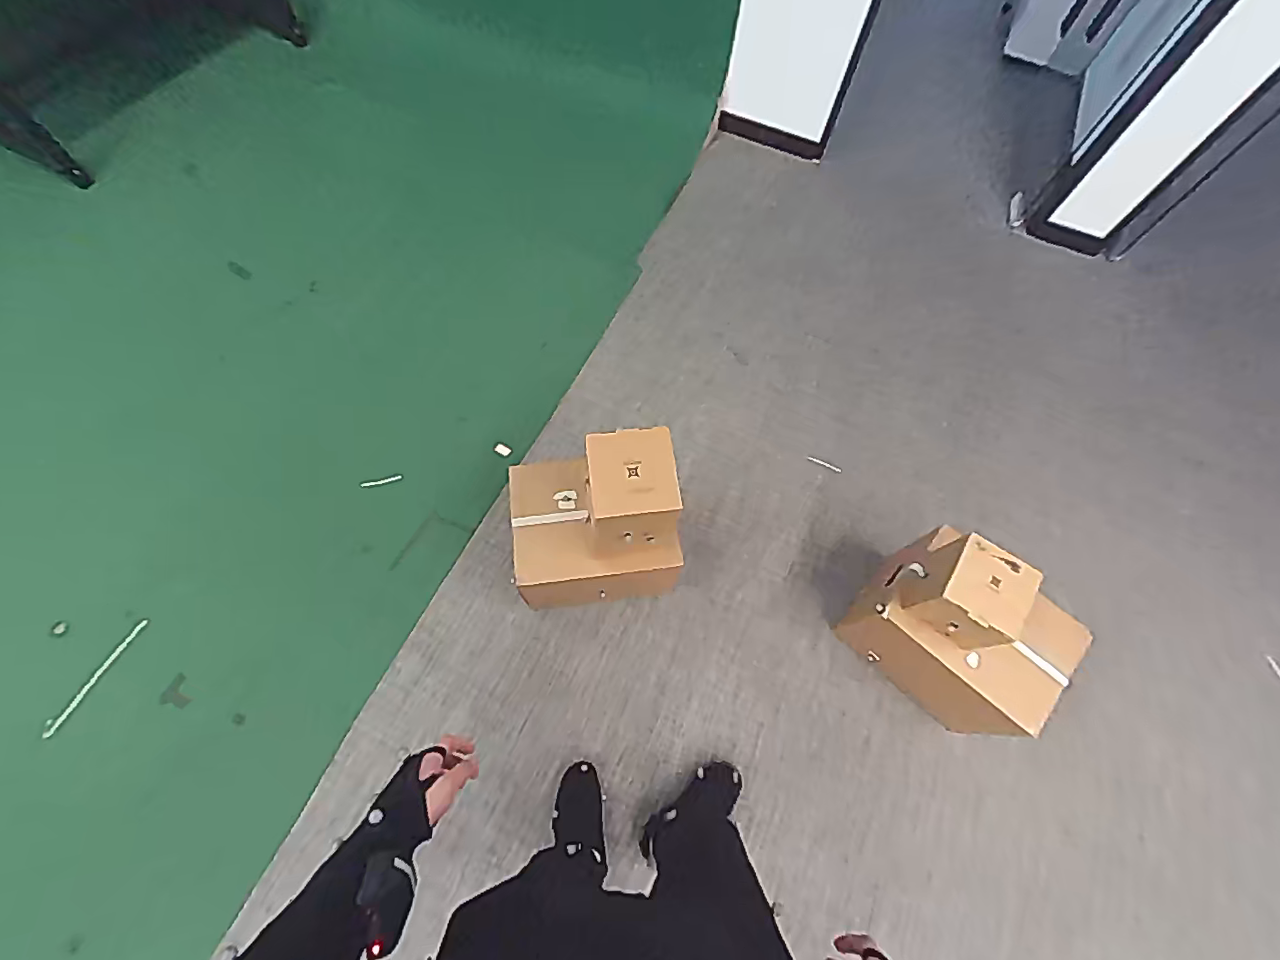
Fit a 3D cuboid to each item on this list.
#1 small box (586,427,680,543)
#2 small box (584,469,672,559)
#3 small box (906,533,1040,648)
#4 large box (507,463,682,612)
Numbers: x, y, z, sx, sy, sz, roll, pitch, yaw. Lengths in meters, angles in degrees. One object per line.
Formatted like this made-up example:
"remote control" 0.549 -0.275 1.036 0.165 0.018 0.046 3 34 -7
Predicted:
"small box" -0.020 0.013 1.084 0.168 0.176 0.179 -5 67 -5
"small box" -0.032 0.073 1.235 0.179 0.176 0.168 -7 66 -6
"small box" 0.728 0.253 1.203 0.168 0.176 0.179 34 70 11
"large box" -0.122 0.153 1.464 0.408 0.320 0.320 -7 65 -6
